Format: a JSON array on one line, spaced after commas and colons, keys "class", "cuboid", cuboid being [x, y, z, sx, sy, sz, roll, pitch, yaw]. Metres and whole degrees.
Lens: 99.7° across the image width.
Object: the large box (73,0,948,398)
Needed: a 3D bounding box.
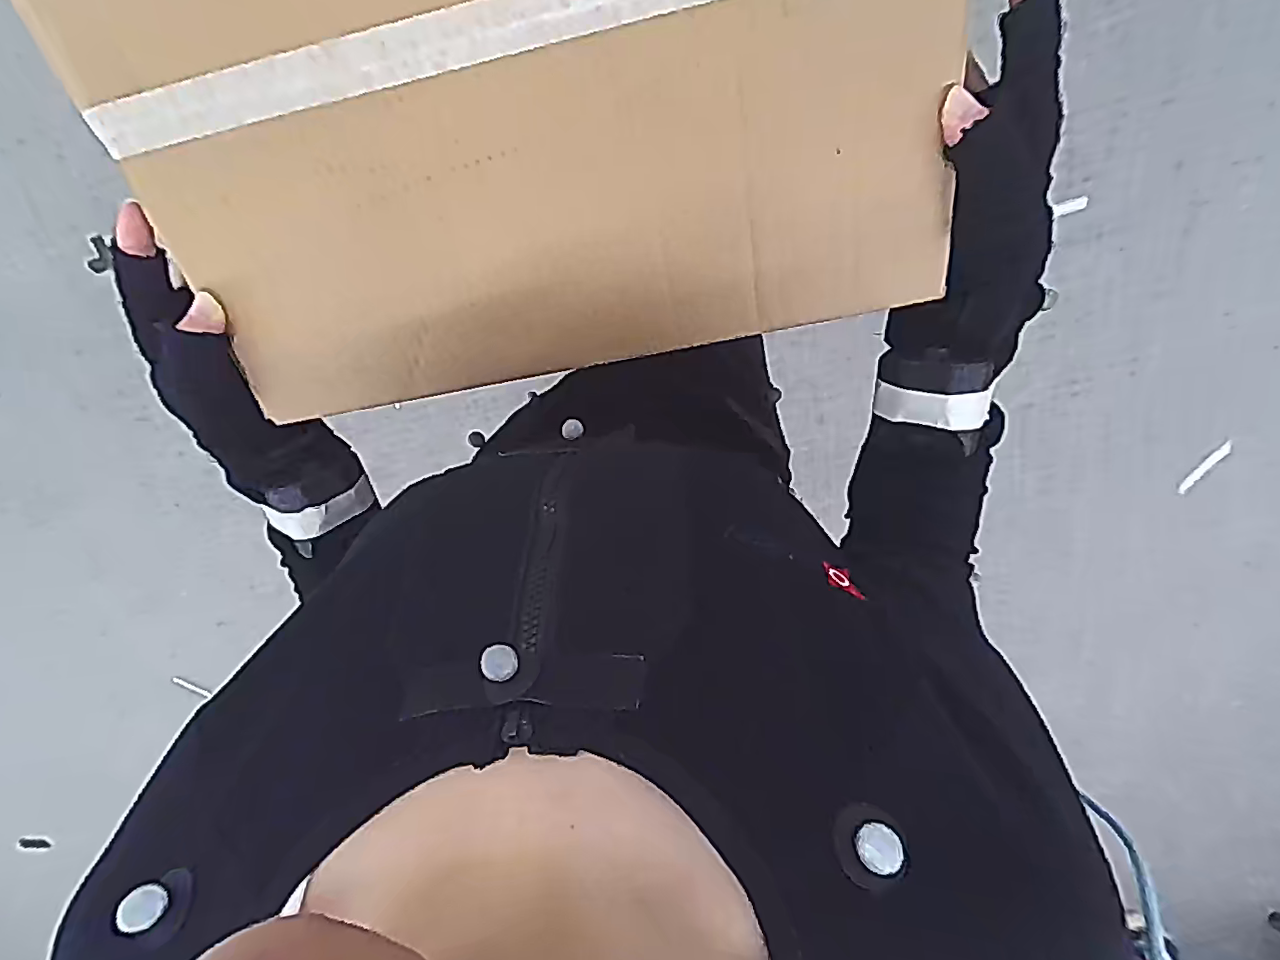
[{"class": "large box", "cuboid": [-0.060, -0.288, 0.381, 0.408, 0.320, 0.320, -10, 120, 6]}]
